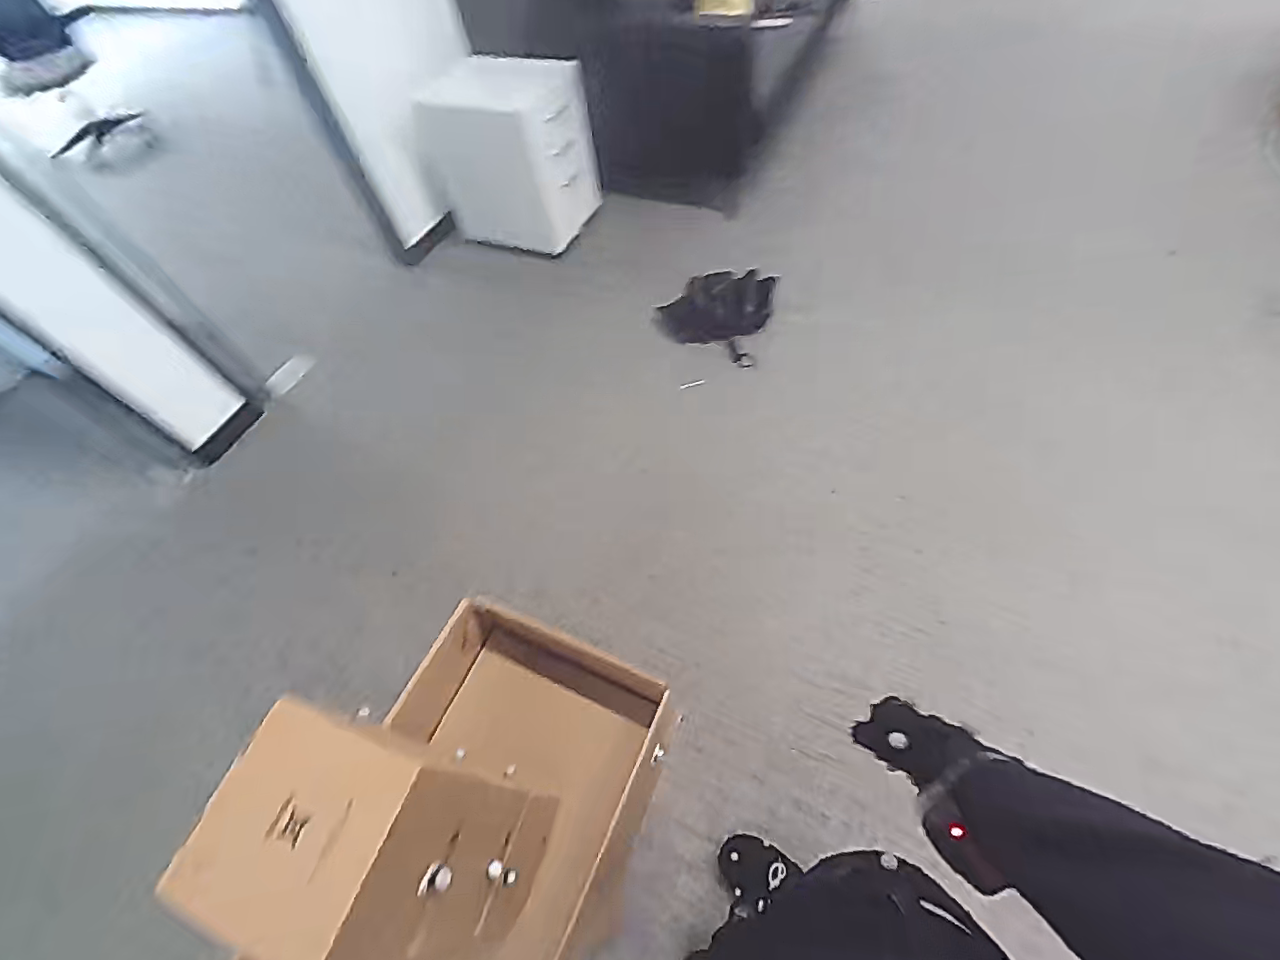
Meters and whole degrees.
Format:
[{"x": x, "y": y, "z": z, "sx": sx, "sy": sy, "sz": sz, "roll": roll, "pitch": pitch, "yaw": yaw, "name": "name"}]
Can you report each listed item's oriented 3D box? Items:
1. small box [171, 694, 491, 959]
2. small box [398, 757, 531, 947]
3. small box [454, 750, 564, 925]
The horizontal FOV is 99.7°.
[{"x": -0.283, "y": 0.336, "z": 0.537, "sx": 0.179, "sy": 0.176, "sz": 0.168, "roll": 13, "pitch": 62, "yaw": 16, "name": "small box"}, {"x": -0.264, "y": 0.430, "z": 0.669, "sx": 0.179, "sy": 0.176, "sz": 0.168, "roll": 13, "pitch": 60, "yaw": 16, "name": "small box"}, {"x": -0.238, "y": 0.519, "z": 0.803, "sx": 0.179, "sy": 0.176, "sz": 0.168, "roll": 11, "pitch": 61, "yaw": 17, "name": "small box"}]
